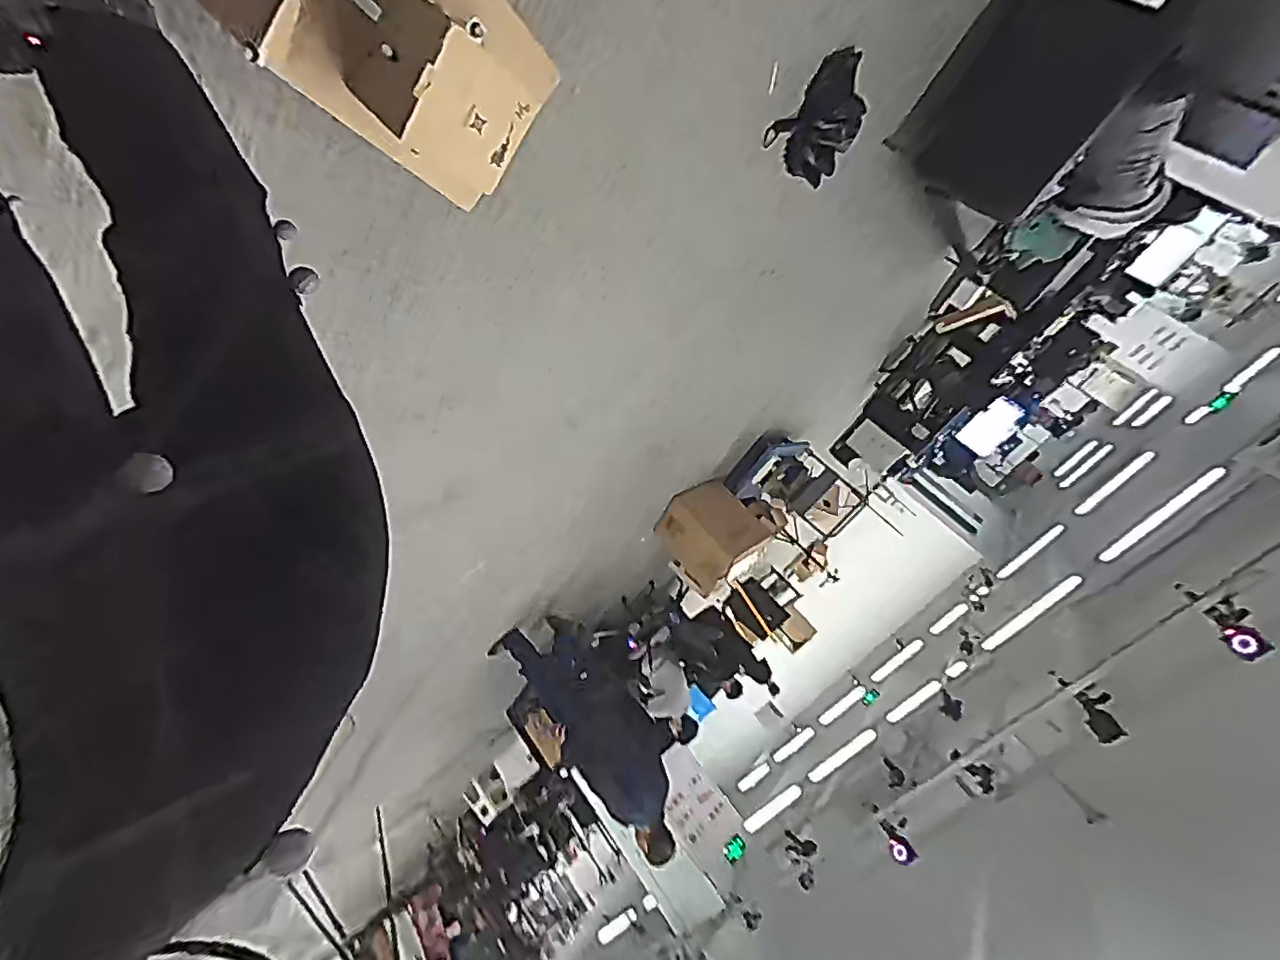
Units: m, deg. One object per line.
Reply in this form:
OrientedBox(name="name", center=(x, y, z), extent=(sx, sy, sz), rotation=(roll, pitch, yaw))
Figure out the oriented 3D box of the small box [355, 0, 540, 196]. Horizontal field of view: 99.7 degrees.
OrientedBox(name="small box", center=(-0.296, -0.583, 0.824), extent=(0.168, 0.176, 0.179), rotation=(-51, 156, 20))
